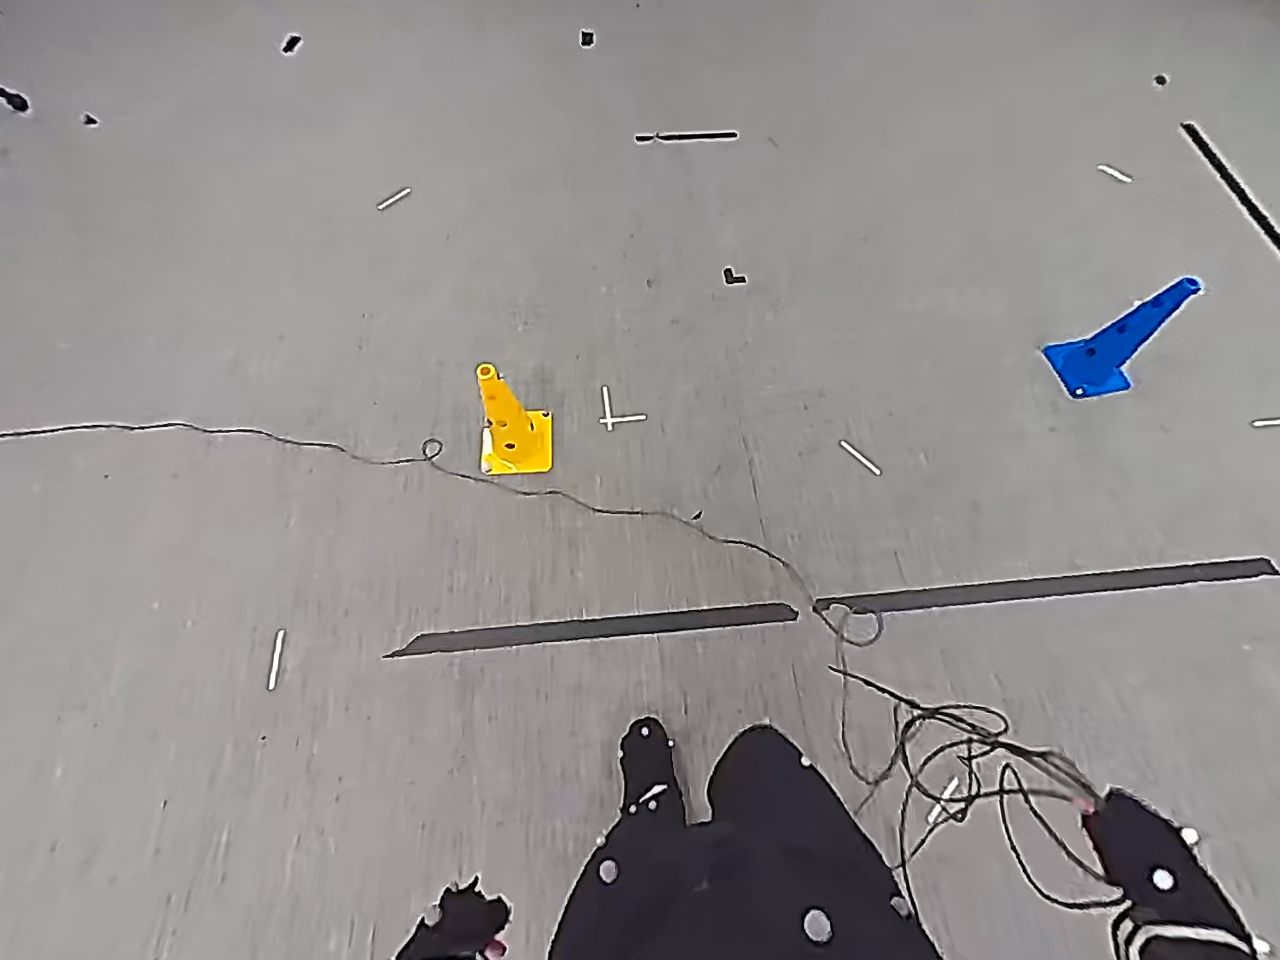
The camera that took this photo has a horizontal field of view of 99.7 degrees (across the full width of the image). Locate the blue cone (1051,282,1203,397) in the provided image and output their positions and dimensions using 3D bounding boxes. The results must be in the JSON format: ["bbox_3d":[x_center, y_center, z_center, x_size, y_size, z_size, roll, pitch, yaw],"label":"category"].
[{"bbox_3d":[1.387,-0.416,1.521,0.193,0.380,0.192,-10,67,-5],"label":"blue cone"}]
